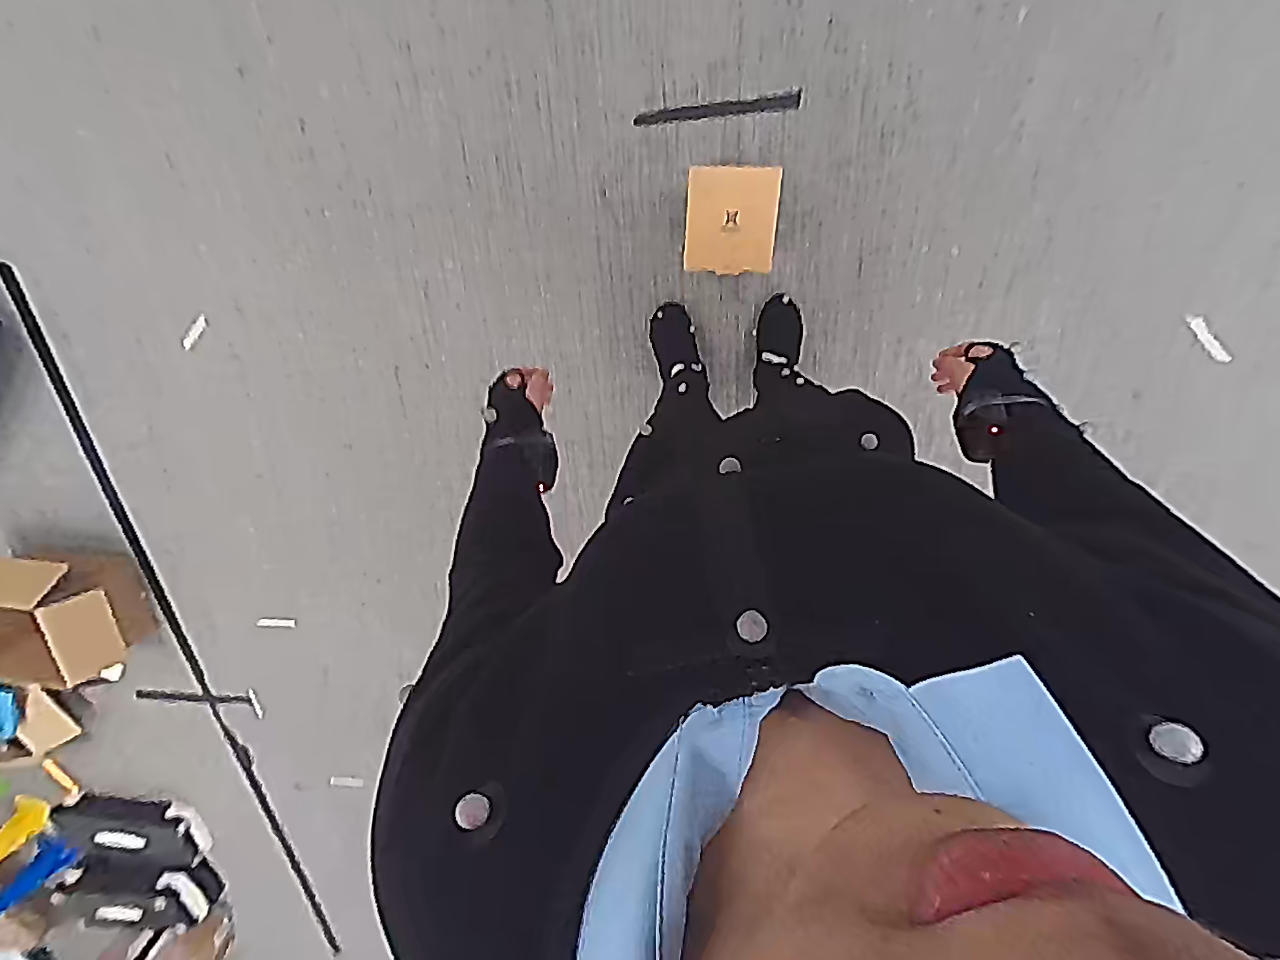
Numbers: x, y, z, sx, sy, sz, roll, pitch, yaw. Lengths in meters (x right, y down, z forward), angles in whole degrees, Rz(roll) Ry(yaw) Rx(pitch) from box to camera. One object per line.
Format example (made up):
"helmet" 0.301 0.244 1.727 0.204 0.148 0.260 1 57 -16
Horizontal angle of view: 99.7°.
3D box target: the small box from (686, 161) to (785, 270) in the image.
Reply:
"small box" 0.178 -0.506 1.050 0.168 0.176 0.179 4 114 6
